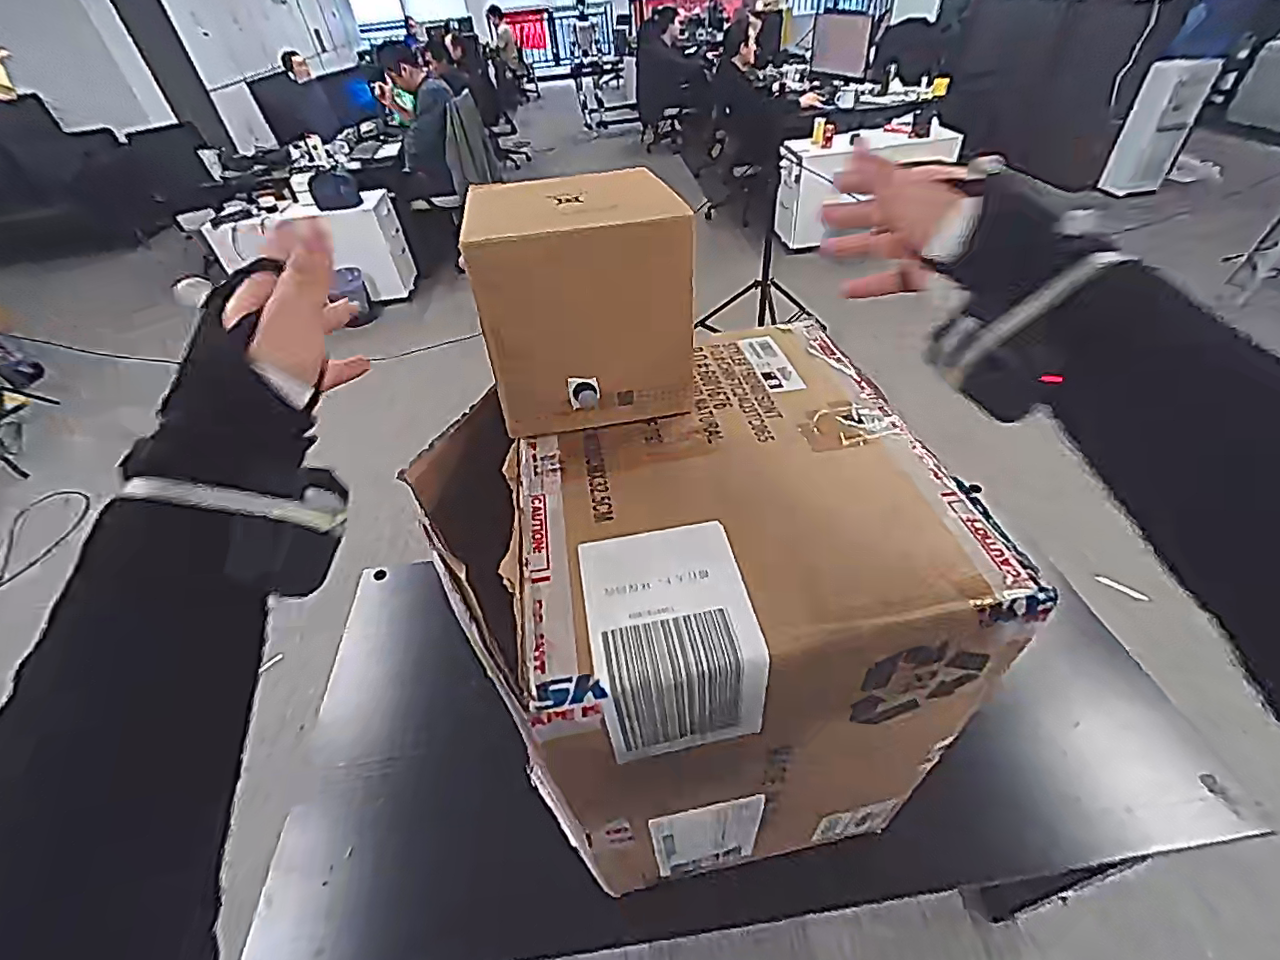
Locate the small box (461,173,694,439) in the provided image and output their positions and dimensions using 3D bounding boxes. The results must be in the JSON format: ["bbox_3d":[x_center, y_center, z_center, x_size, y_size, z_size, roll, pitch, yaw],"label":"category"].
[{"bbox_3d":[-0.053,-0.160,0.489,0.168,0.176,0.179,-11,41,-6],"label":"small box"}]
